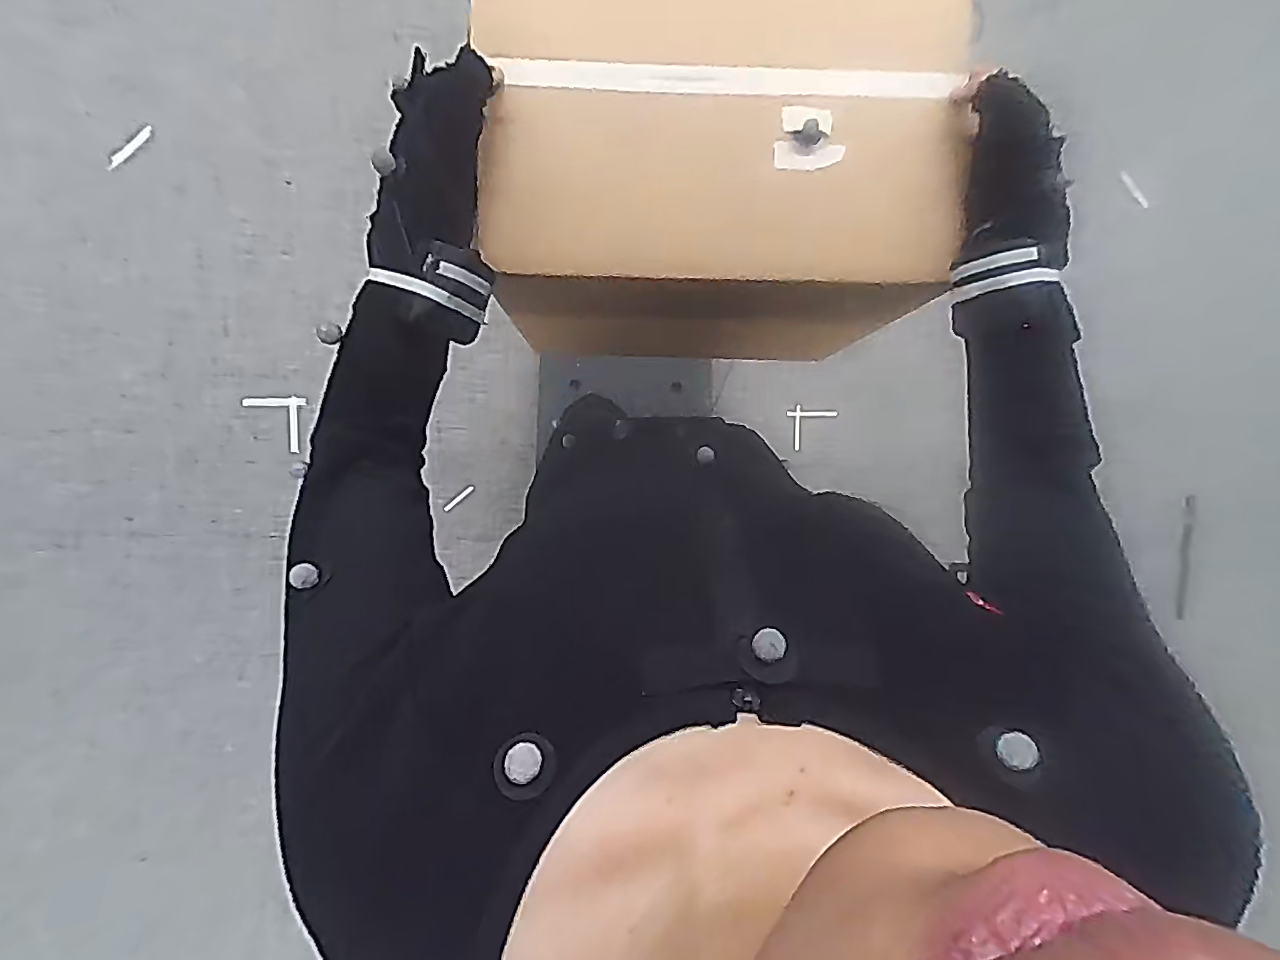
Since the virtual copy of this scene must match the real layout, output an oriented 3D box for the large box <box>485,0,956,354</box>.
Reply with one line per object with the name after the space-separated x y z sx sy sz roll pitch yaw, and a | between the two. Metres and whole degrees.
0.063 -0.329 0.604 0.408 0.320 0.320 0 91 -2 | large box
